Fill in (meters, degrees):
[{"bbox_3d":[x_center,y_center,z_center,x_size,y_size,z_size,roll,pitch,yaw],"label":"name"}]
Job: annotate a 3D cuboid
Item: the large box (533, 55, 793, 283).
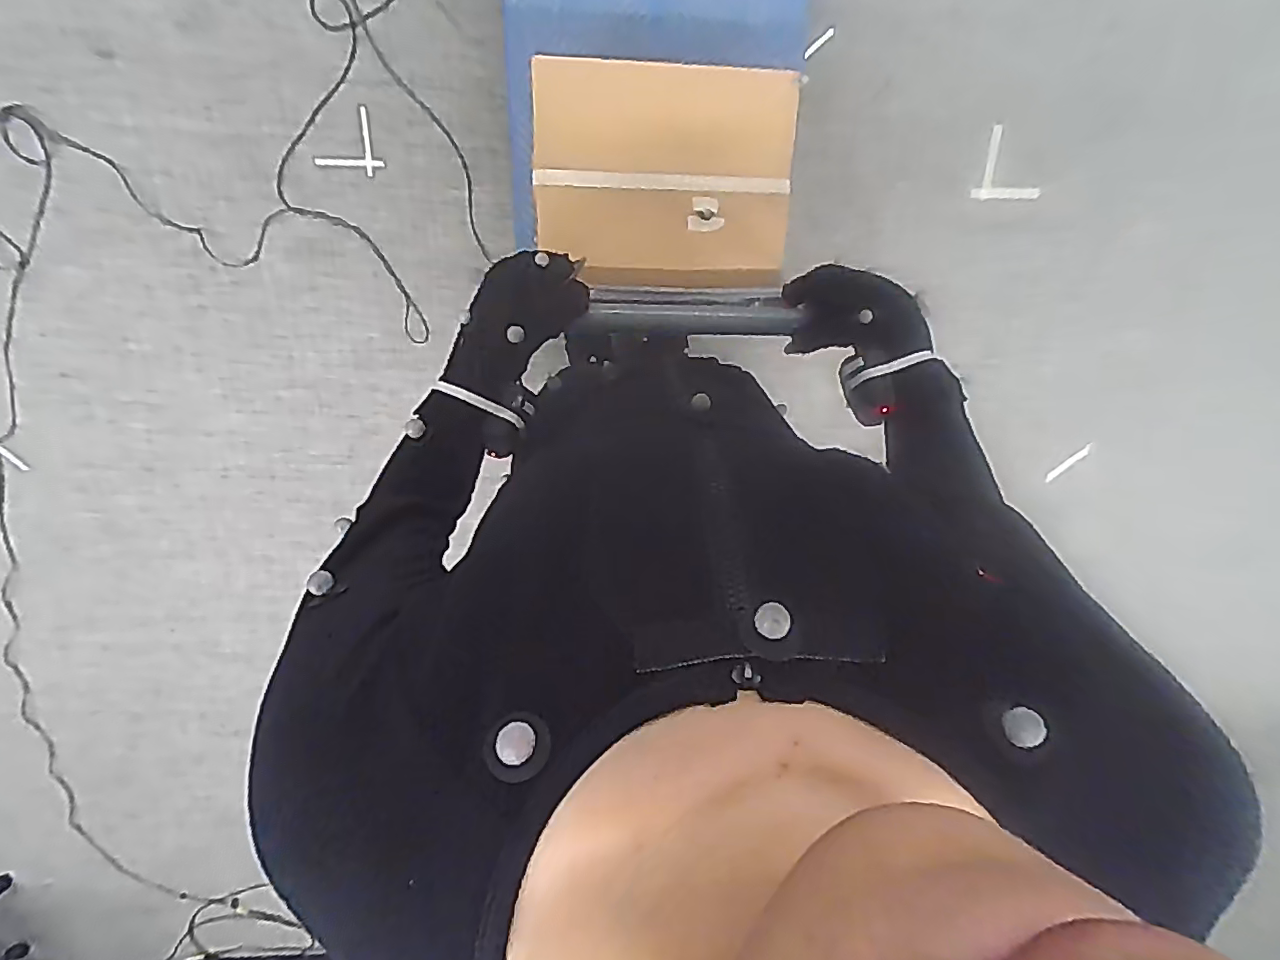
[{"bbox_3d":[0.024,-0.535,1.004,0.408,0.320,0.320,-1,110,-5],"label":"large box"}]
